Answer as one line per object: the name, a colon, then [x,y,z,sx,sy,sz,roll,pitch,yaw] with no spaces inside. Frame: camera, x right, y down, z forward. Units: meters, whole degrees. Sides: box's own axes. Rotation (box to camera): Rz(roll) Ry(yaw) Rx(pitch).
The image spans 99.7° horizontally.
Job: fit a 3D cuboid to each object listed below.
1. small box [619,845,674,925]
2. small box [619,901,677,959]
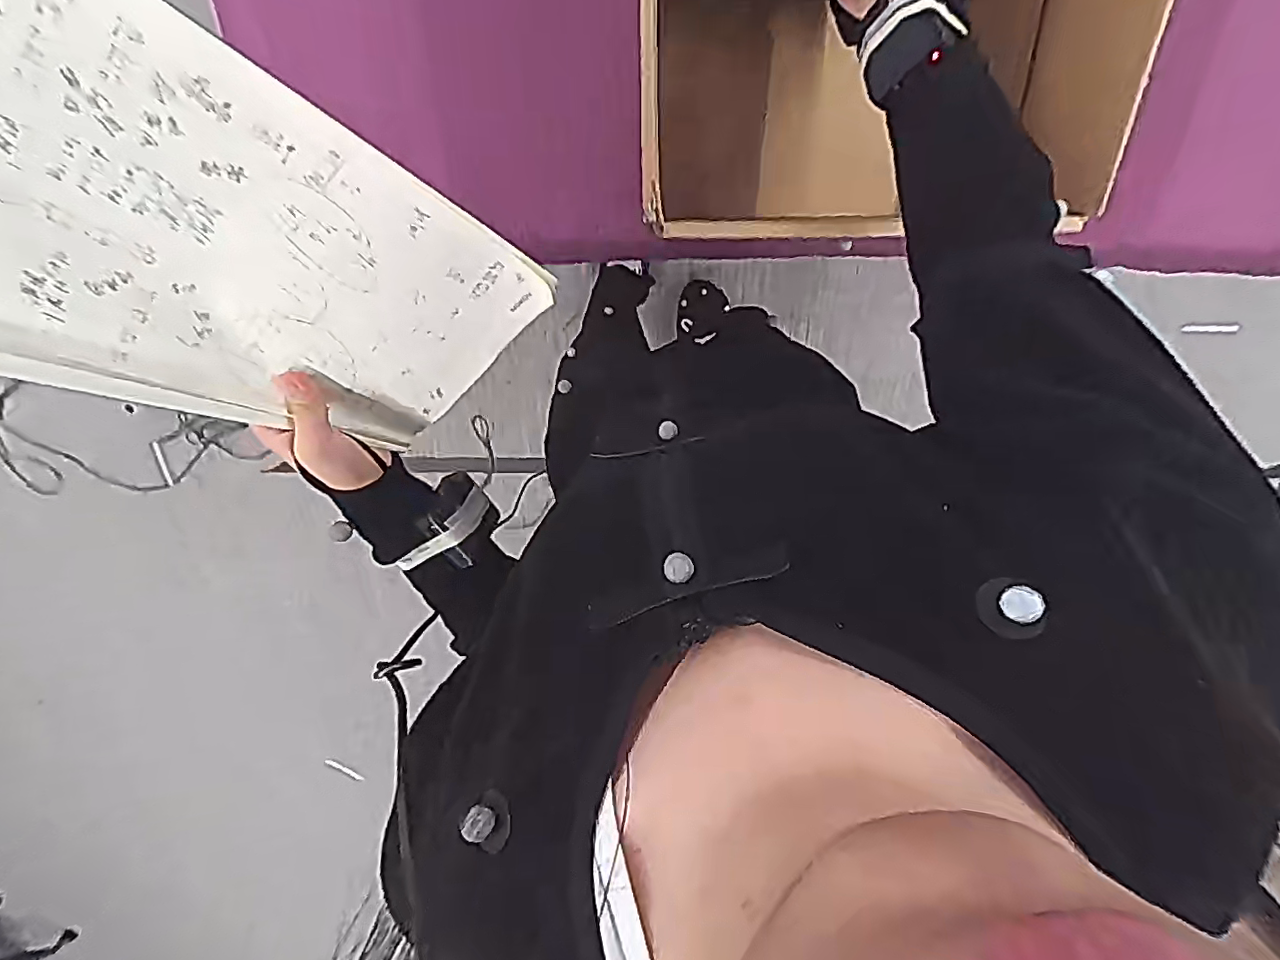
small box: [0.017,1.374,1.835,0.168,0.176,0.179,5,116,-4]
small box: [0.021,1.455,1.692,0.168,0.176,0.179,2,115,-2]
